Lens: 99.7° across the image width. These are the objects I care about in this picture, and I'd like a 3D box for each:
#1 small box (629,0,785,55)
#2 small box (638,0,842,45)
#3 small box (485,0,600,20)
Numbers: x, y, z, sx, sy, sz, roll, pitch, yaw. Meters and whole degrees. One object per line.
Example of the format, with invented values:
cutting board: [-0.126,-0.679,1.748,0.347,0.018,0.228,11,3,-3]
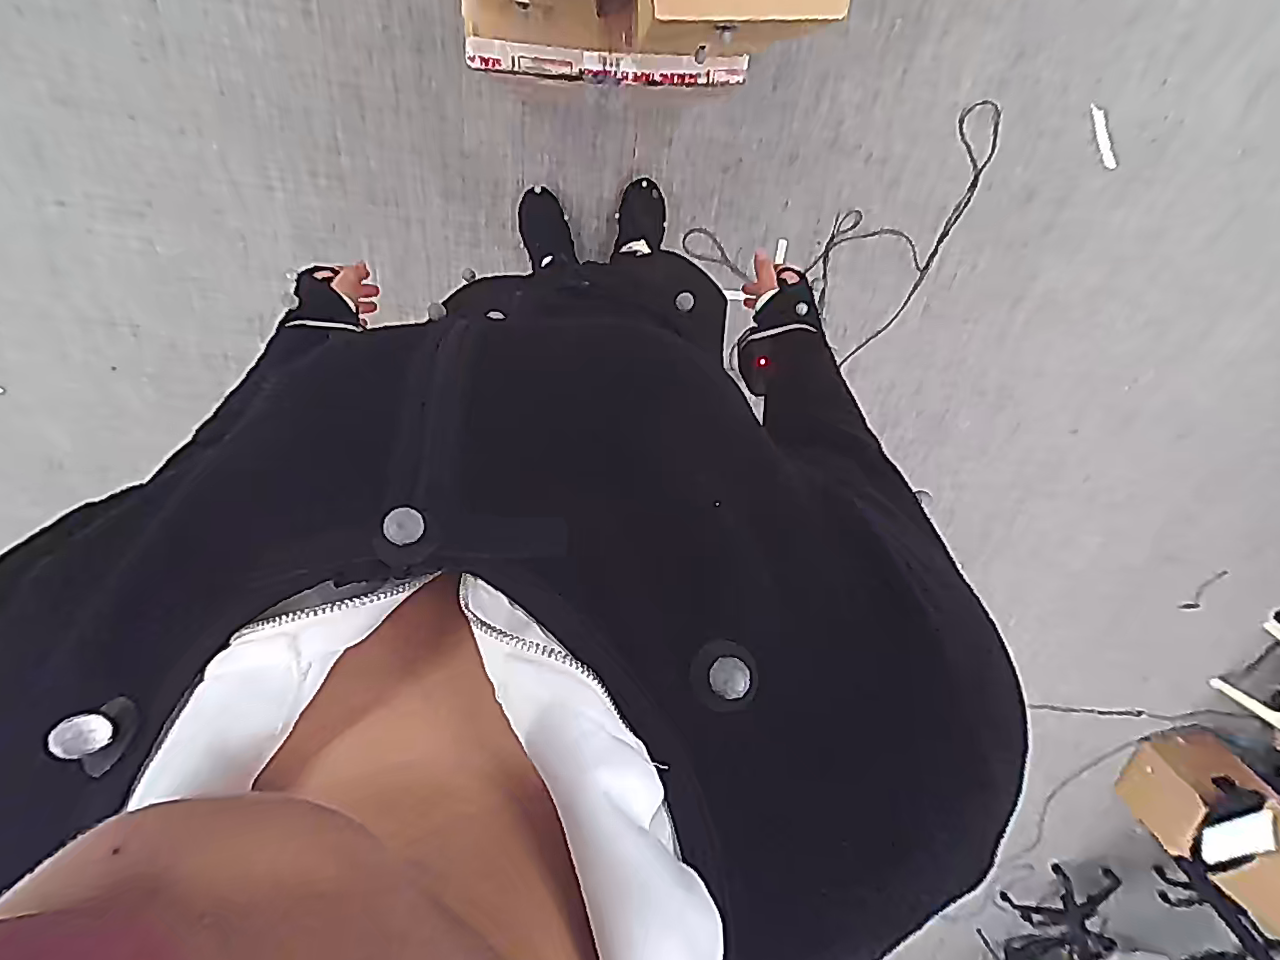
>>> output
small box: [0.078,-0.617,0.640,0.179,0.176,0.168,-2,124,-2]
small box: [0.088,-0.520,0.504,0.179,0.176,0.168,-3,125,-3]
small box: [-0.123,-0.649,0.602,0.168,0.176,0.179,5,124,-5]
